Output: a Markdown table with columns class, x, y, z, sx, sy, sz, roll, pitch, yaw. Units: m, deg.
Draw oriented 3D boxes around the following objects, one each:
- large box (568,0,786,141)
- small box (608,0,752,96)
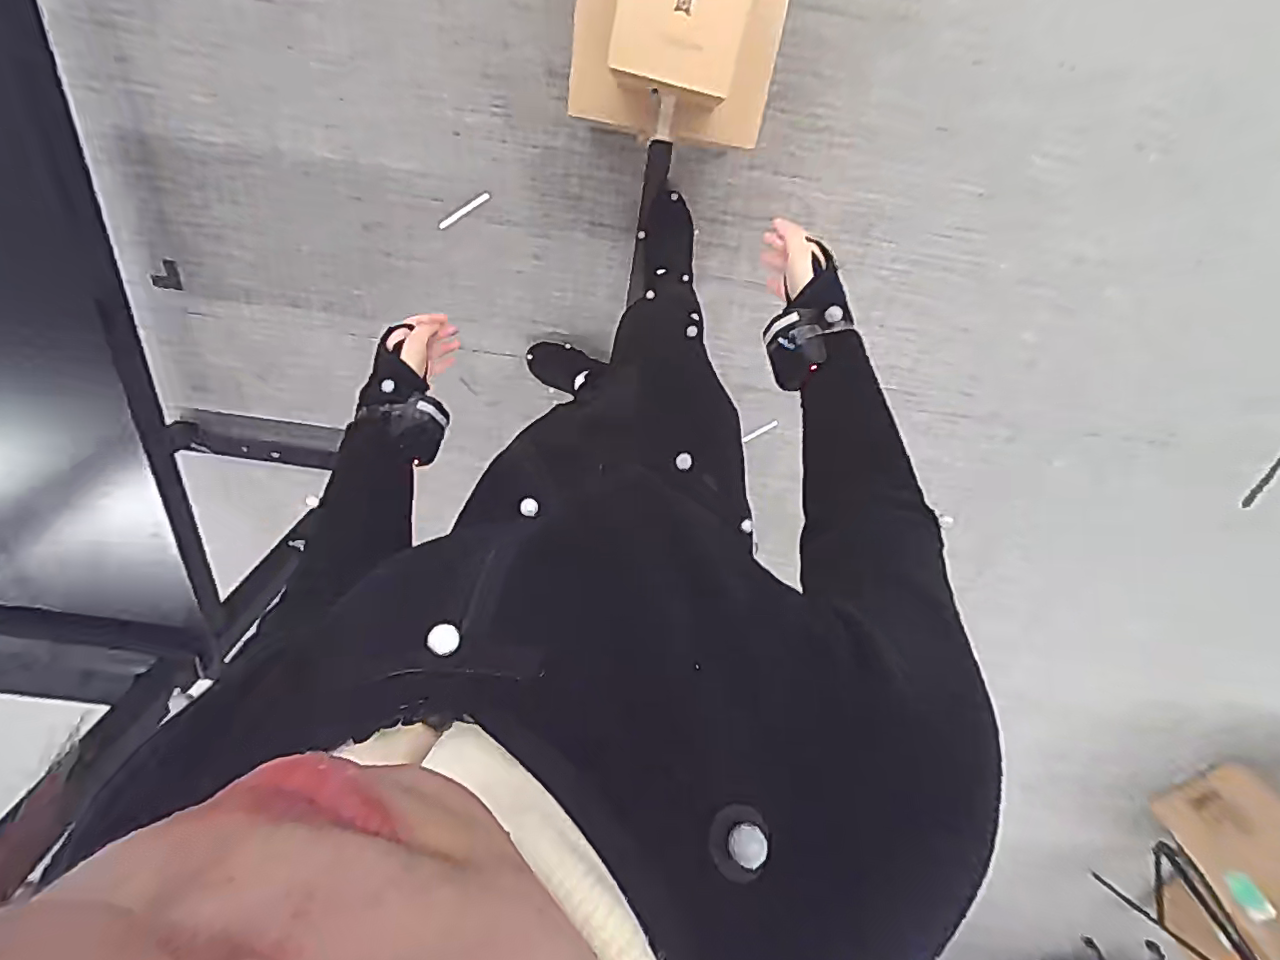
| class | x | y | z | sx | sy | sz | roll | pitch | yaw |
| --- | --- | --- | --- | --- | --- | --- | --- | --- | --- |
| large box | 0.068 | -0.819 | 0.896 | 0.320 | 0.320 | 0.408 | 8 | 121 | -5 |
| small box | 0.058 | -0.640 | 0.719 | 0.168 | 0.176 | 0.179 | 12 | 121 | -5 |
